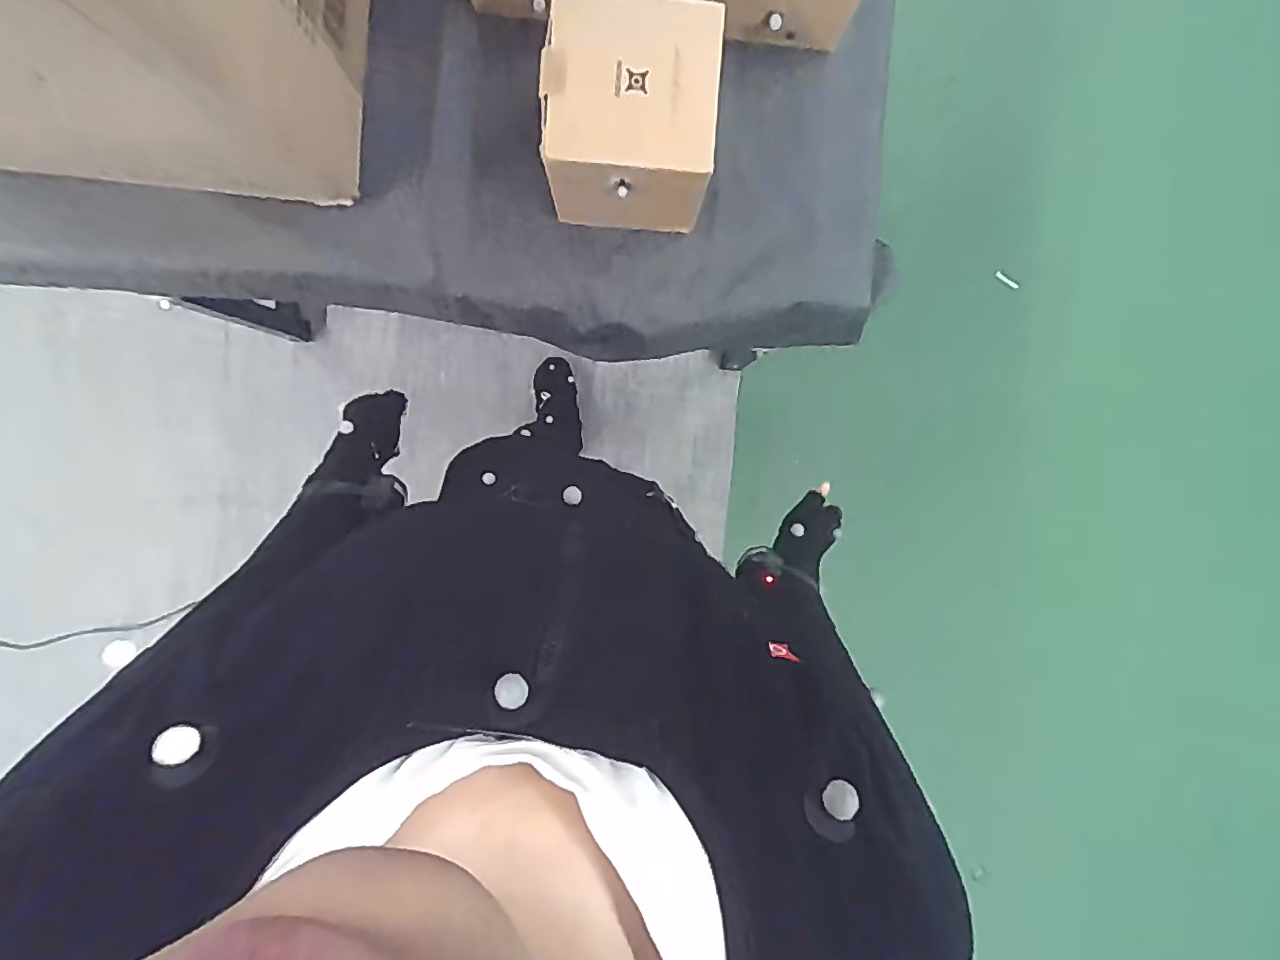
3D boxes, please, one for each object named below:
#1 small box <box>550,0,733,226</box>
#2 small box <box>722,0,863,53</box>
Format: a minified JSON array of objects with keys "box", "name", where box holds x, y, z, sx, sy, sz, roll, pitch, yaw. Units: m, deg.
[{"box":[-0.002,-0.412,0.625,0.179,0.176,0.168,4,95,-3],"name":"small box"},{"box":[0.187,-0.644,0.614,0.168,0.176,0.179,6,95,-2],"name":"small box"}]
